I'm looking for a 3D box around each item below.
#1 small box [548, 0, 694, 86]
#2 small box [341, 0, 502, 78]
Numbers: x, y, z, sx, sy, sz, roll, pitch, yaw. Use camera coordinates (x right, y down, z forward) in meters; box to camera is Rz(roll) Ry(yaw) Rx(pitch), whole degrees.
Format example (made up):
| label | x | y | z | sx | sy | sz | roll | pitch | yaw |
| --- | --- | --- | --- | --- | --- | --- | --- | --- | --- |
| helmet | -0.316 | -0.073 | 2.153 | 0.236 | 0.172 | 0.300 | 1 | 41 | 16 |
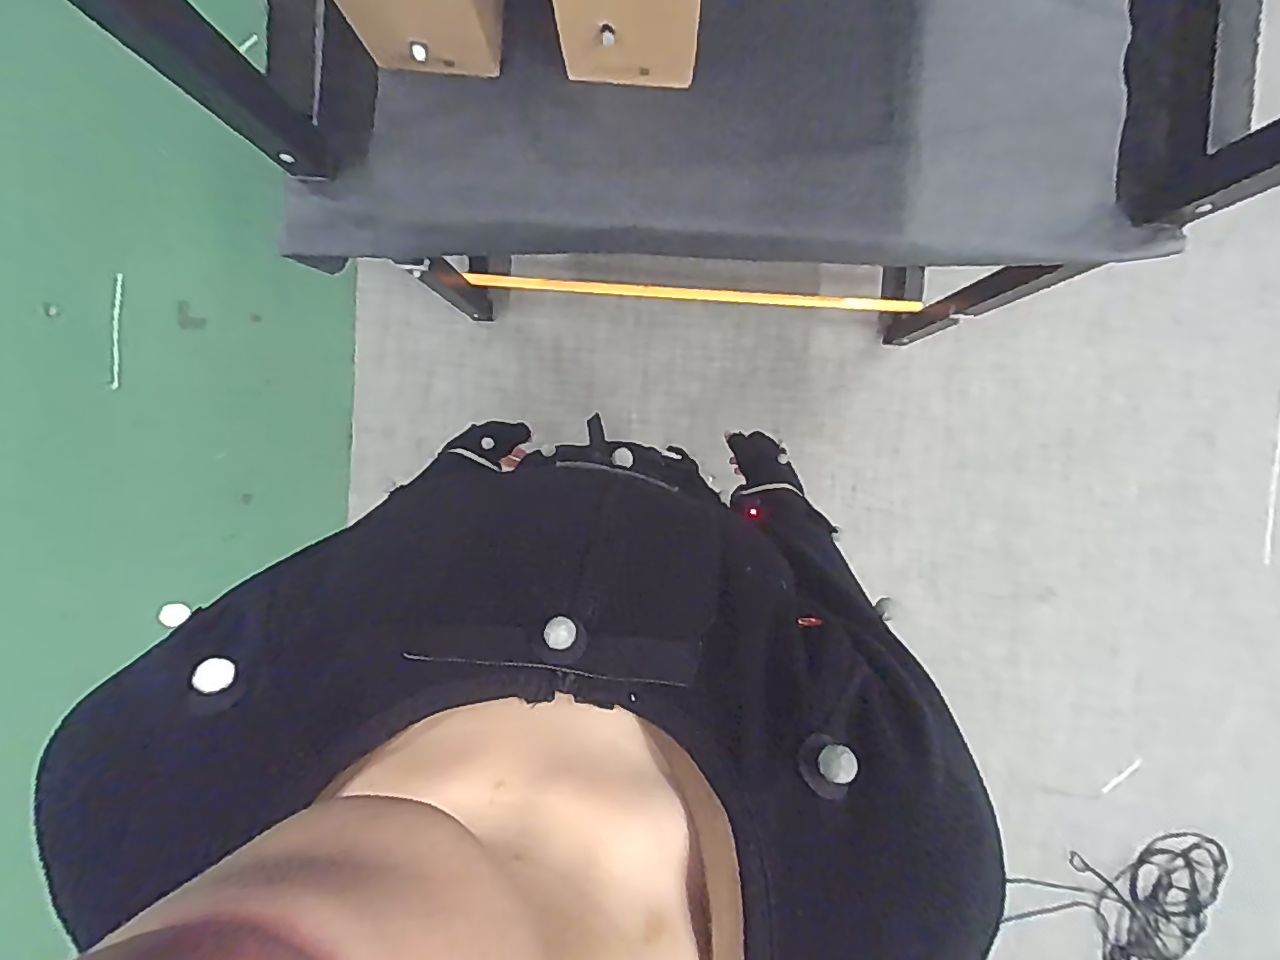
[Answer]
| label | x | y | z | sx | sy | sz | roll | pitch | yaw |
| --- | --- | --- | --- | --- | --- | --- | --- | --- | --- |
| small box | -0.014 | -0.613 | 0.644 | 0.168 | 0.176 | 0.179 | 4 | 93 | 0 |
| small box | -0.267 | -0.629 | 0.642 | 0.168 | 0.176 | 0.179 | 4 | 94 | 0 |
